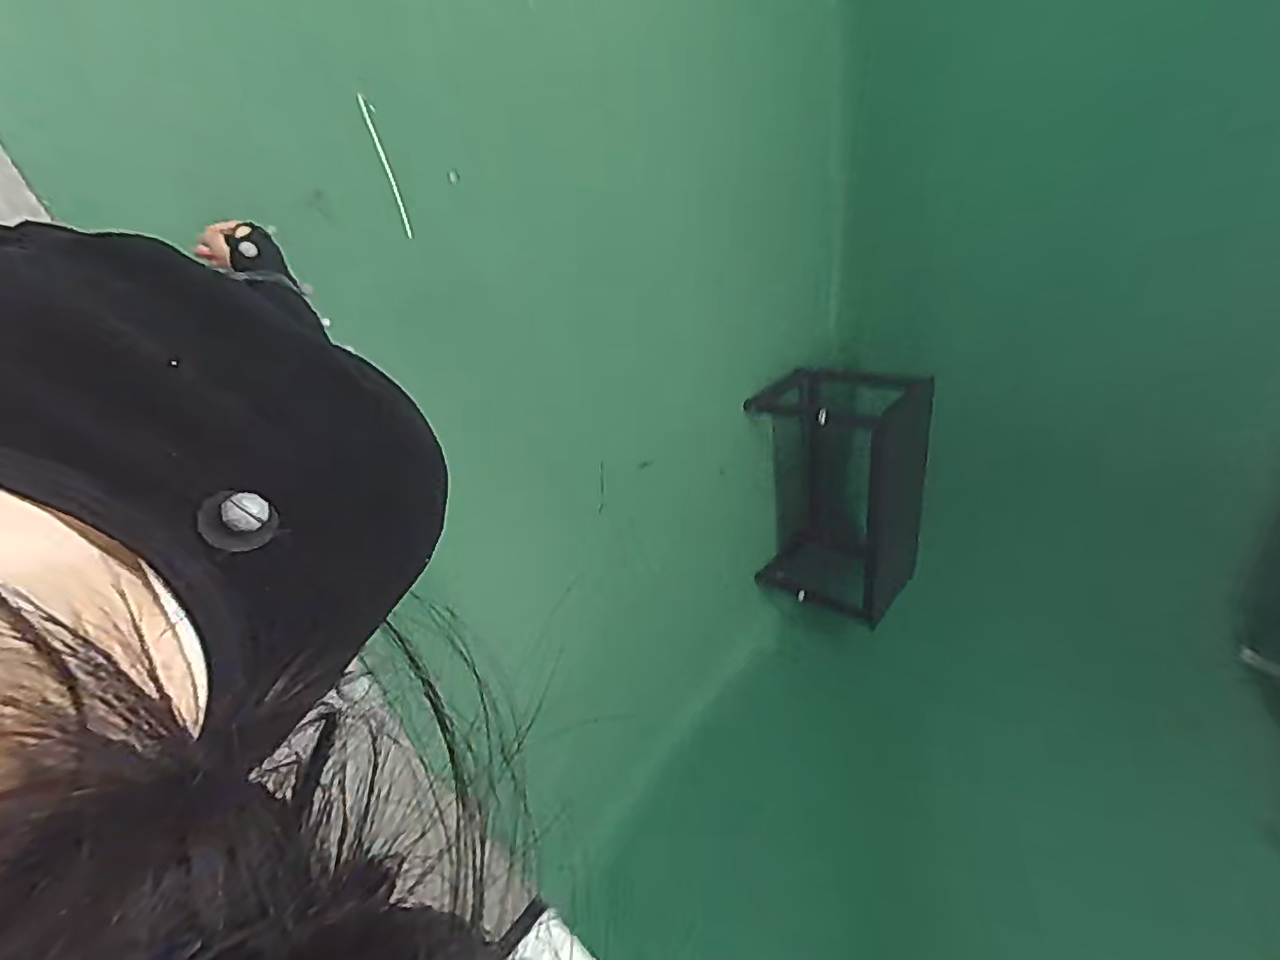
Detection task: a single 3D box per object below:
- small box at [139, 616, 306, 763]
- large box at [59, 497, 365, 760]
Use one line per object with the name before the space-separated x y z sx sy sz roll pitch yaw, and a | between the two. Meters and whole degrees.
small box | -0.777 0.378 1.006 0.168 0.176 0.179 -48 132 -26
large box | -0.925 0.306 1.194 0.408 0.320 0.320 -50 135 -26
